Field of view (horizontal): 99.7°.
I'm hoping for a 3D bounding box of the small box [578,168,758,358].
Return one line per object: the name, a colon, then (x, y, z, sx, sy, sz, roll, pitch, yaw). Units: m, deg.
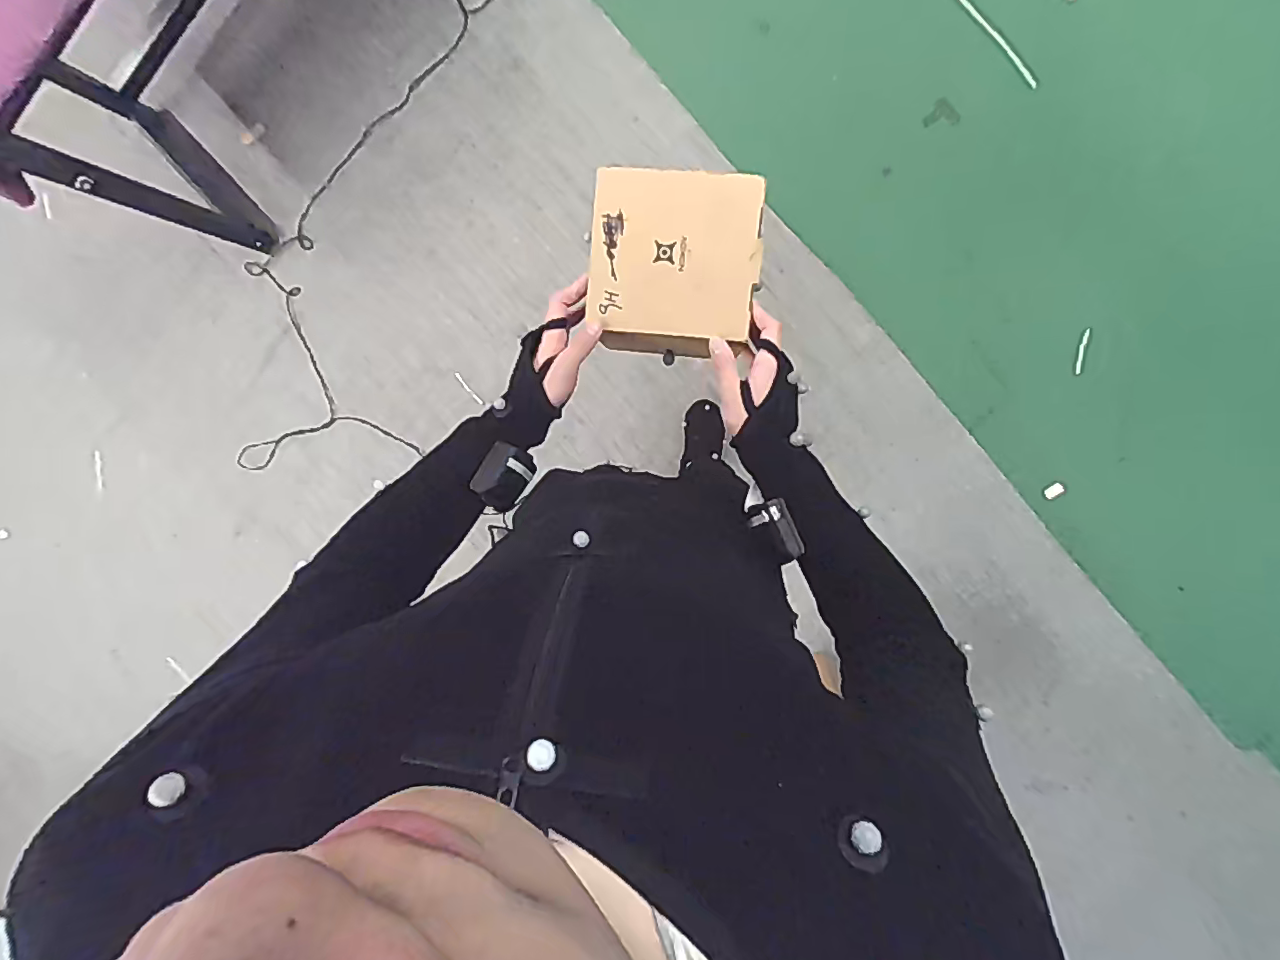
small box: (0.034, -0.244, 0.647, 0.179, 0.176, 0.168, 7, 96, 5)
